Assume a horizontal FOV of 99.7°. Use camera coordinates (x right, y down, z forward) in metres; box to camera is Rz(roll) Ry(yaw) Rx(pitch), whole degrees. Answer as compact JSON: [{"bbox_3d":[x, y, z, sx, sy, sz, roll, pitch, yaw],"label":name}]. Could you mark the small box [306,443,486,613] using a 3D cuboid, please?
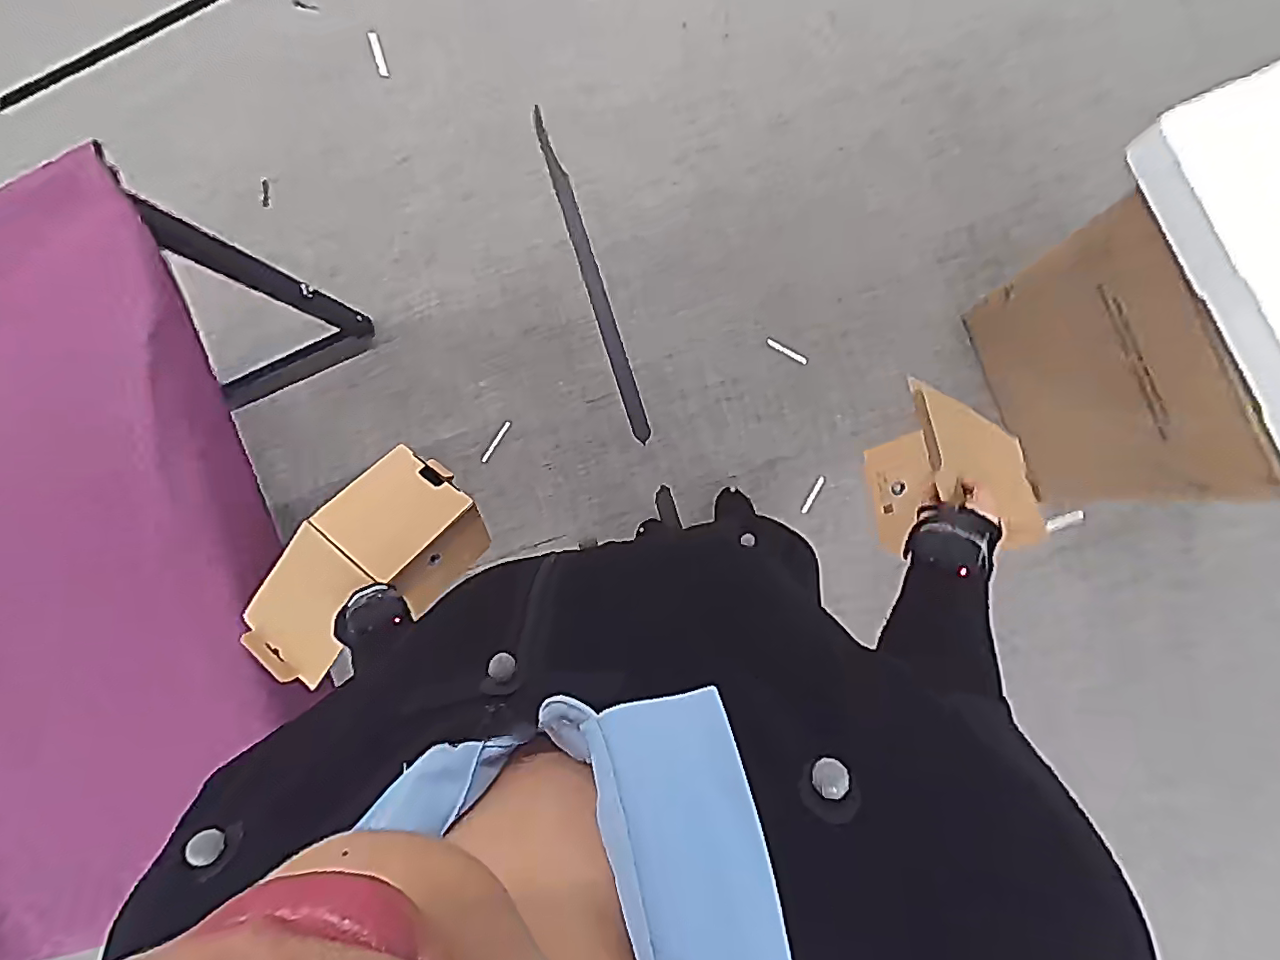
[{"bbox_3d":[-0.367,0.083,0.854,0.168,0.176,0.179,36,64,14],"label":"small box"}]
